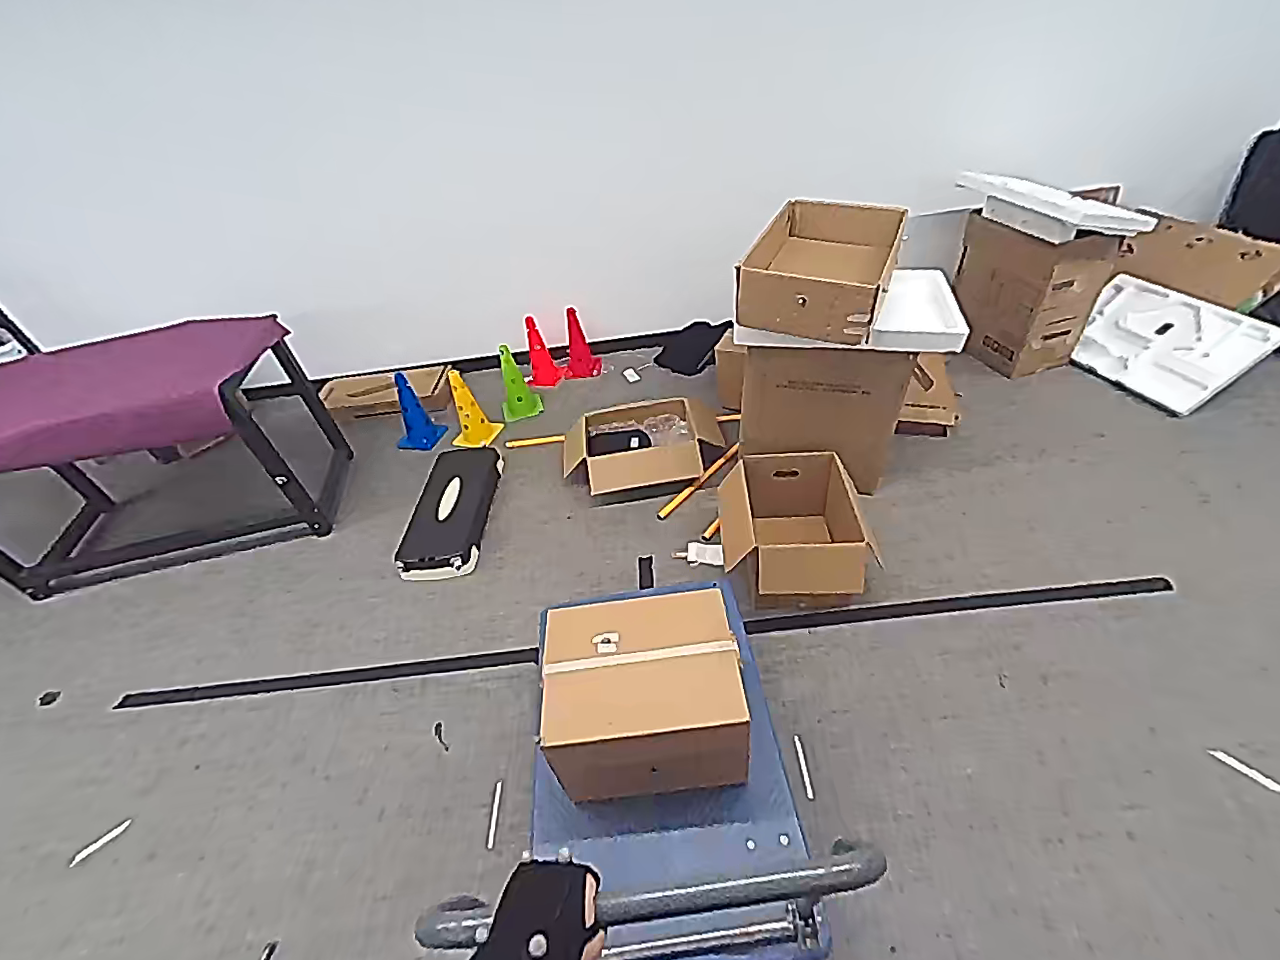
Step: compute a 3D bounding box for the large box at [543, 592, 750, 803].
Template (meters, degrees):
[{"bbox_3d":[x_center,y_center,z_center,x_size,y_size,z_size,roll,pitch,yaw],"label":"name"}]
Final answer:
[{"bbox_3d":[0.018,0.500,1.239,0.408,0.320,0.320,-9,40,2],"label":"large box"}]
